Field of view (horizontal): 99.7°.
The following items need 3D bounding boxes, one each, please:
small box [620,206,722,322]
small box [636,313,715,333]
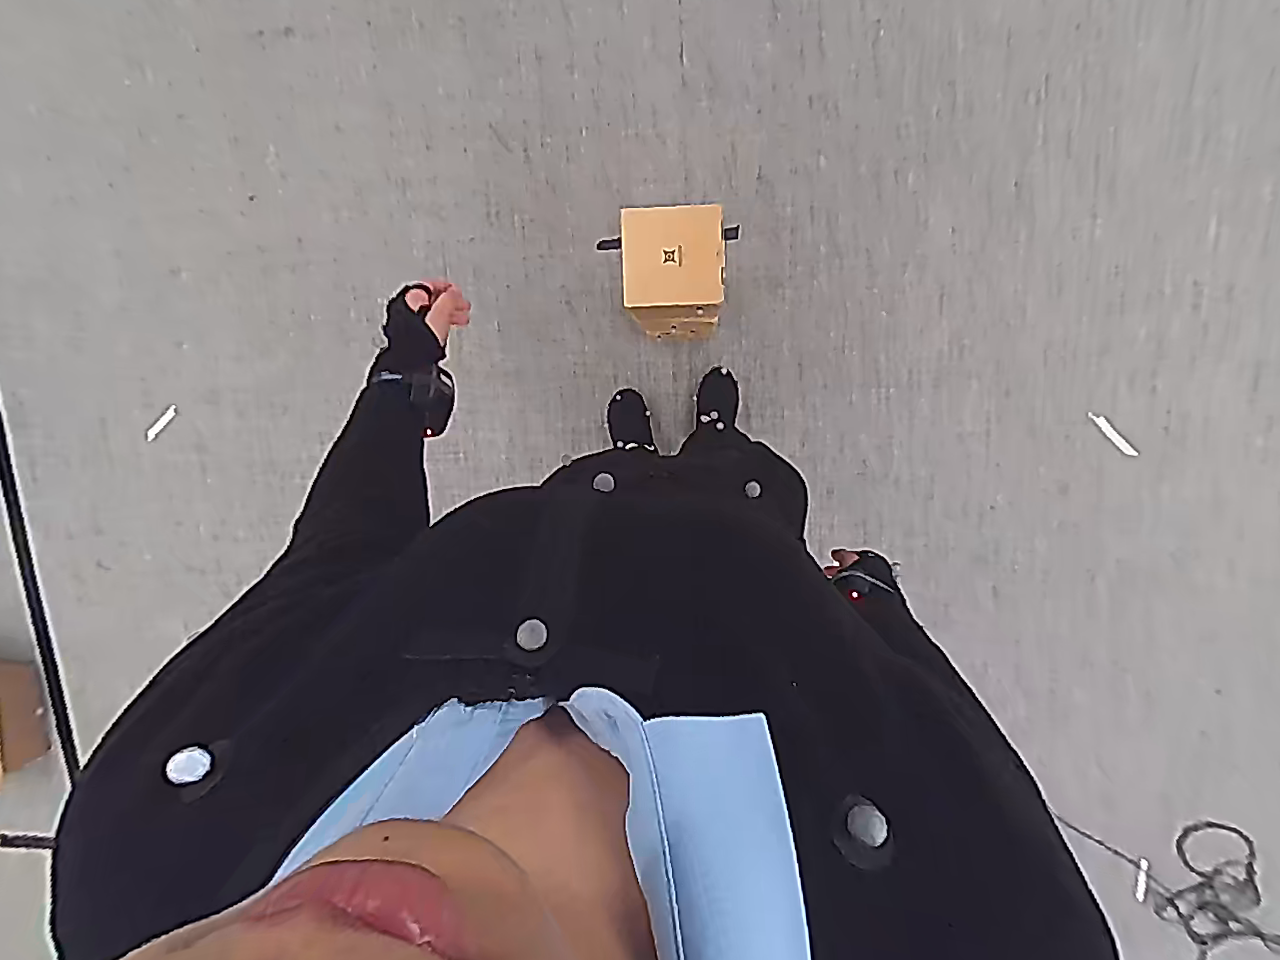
[{"bbox_3d":[0.060,-0.393,1.009,0.179,0.176,0.168,-1,99,4],"label":"small box"},{"bbox_3d":[0.081,-0.416,1.169,0.168,0.176,0.179,3,98,3],"label":"small box"}]
